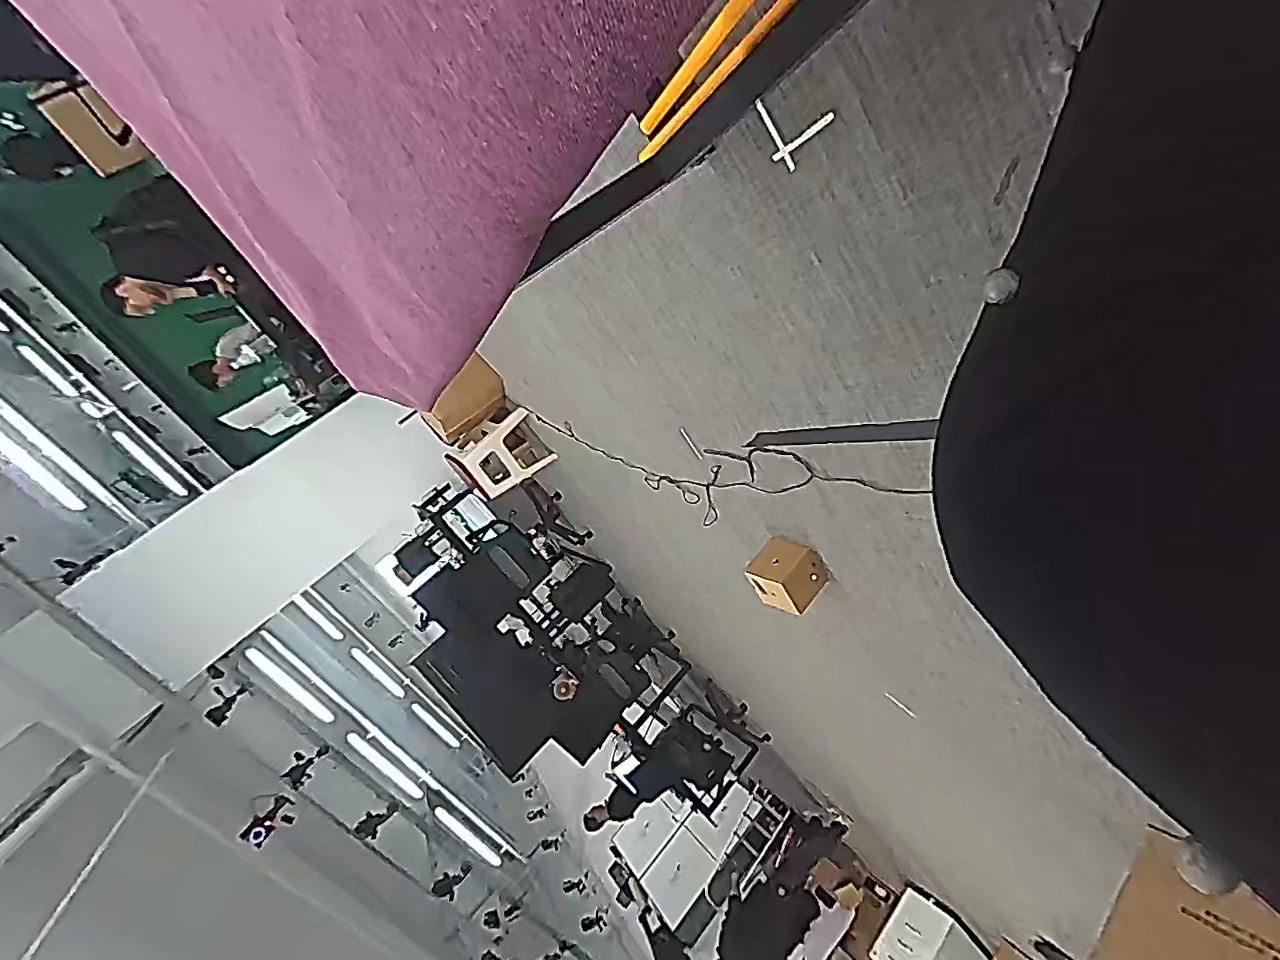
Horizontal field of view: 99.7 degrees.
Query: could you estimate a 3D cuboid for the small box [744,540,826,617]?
[{"bbox_3d":[0.492,0.325,1.832,0.179,0.176,0.168,10,140,57],"label":"small box"}]
